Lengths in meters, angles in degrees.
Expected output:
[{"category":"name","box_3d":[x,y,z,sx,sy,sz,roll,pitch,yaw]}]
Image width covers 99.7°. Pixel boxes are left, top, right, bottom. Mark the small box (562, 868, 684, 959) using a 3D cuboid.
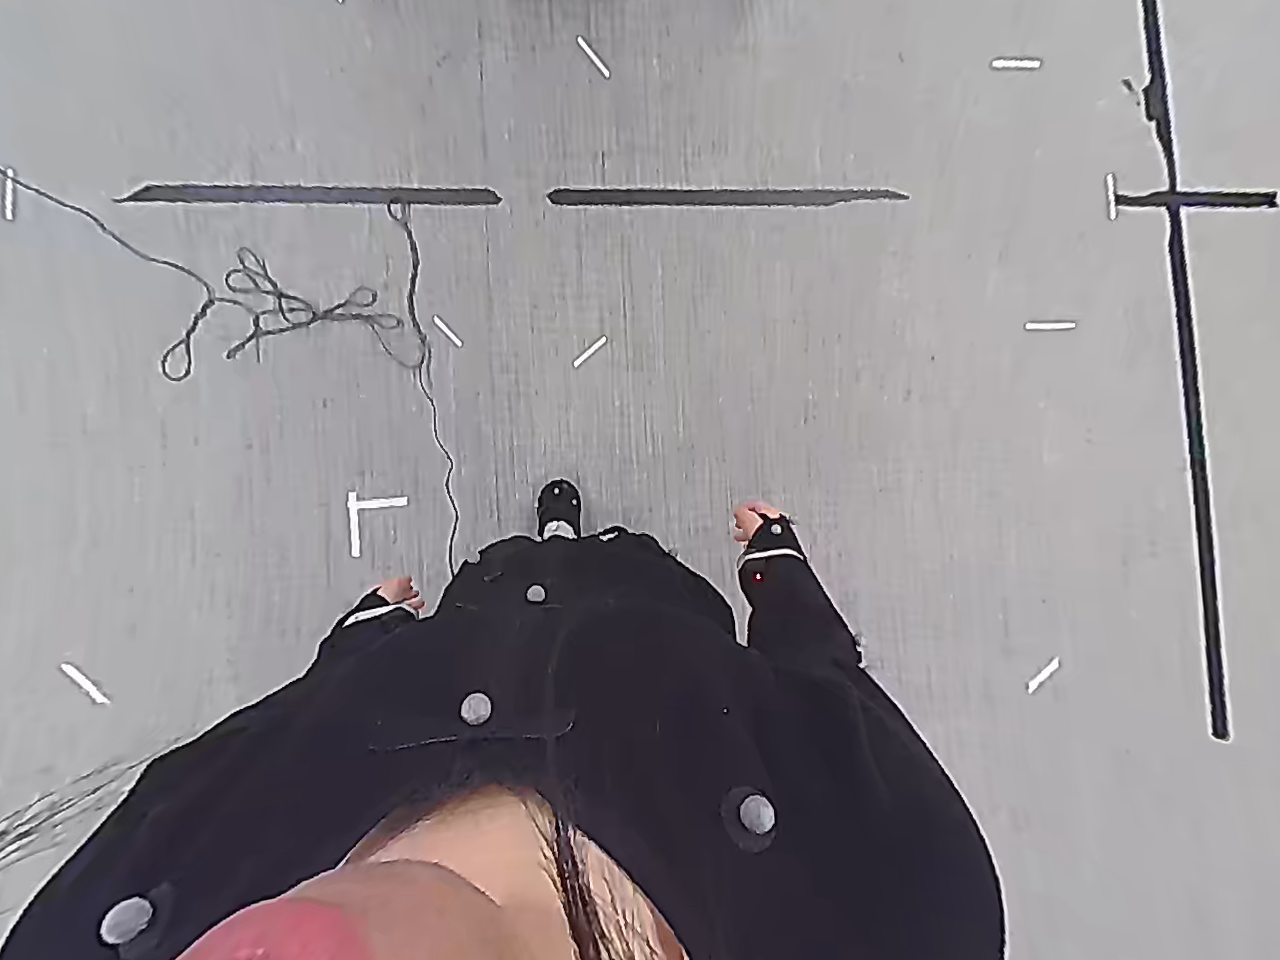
[{"category":"small box","box_3d":[-0.031,0.710,0.796,0.168,0.176,0.179,3,87,-3]}]
